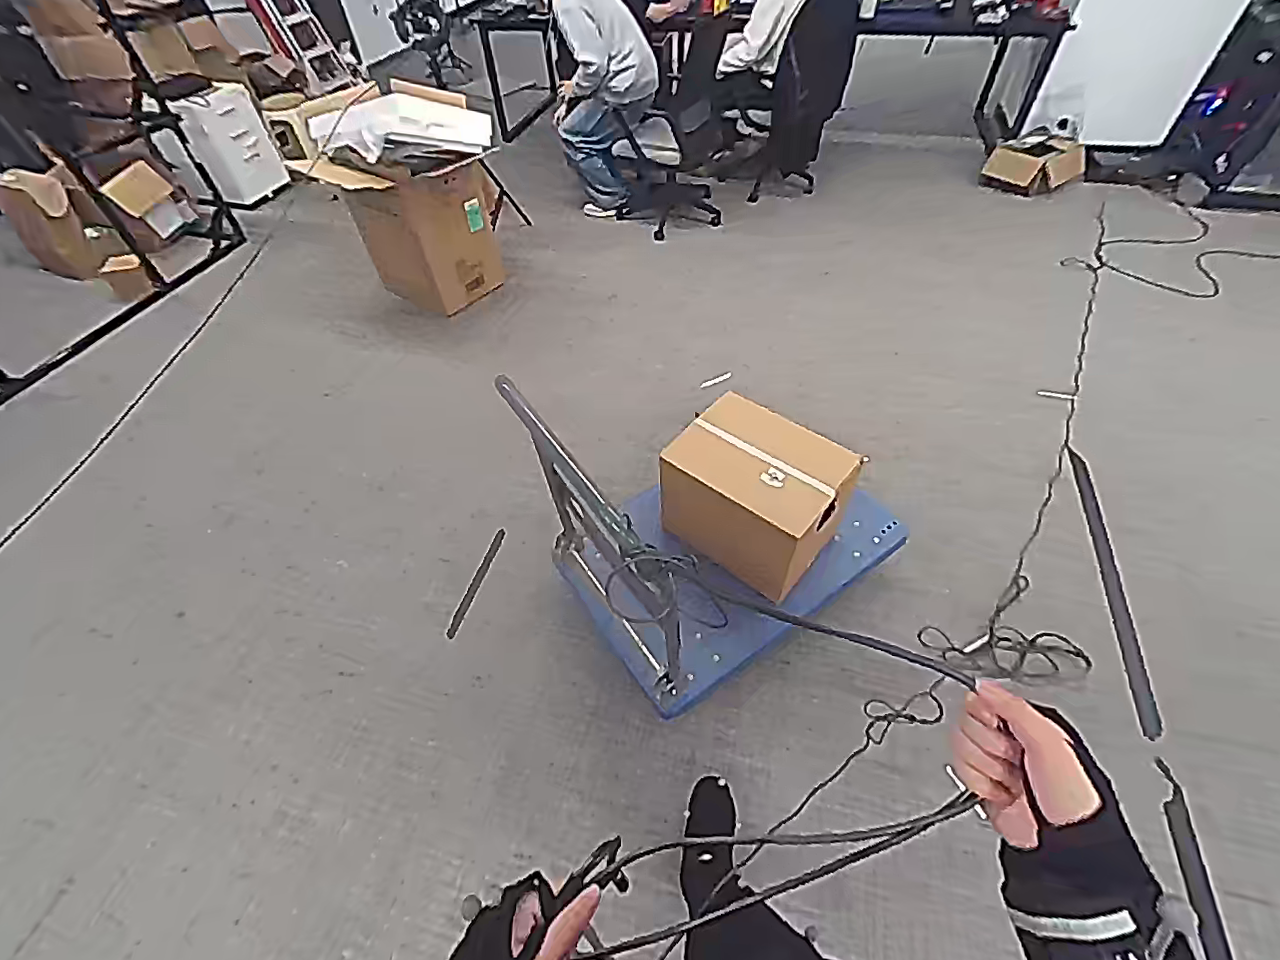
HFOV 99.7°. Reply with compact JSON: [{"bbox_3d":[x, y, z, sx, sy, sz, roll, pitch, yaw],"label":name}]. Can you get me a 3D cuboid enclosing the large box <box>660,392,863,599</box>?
[{"bbox_3d":[0.299,0.036,1.440,0.408,0.320,0.320,33,60,26],"label":"large box"}]
